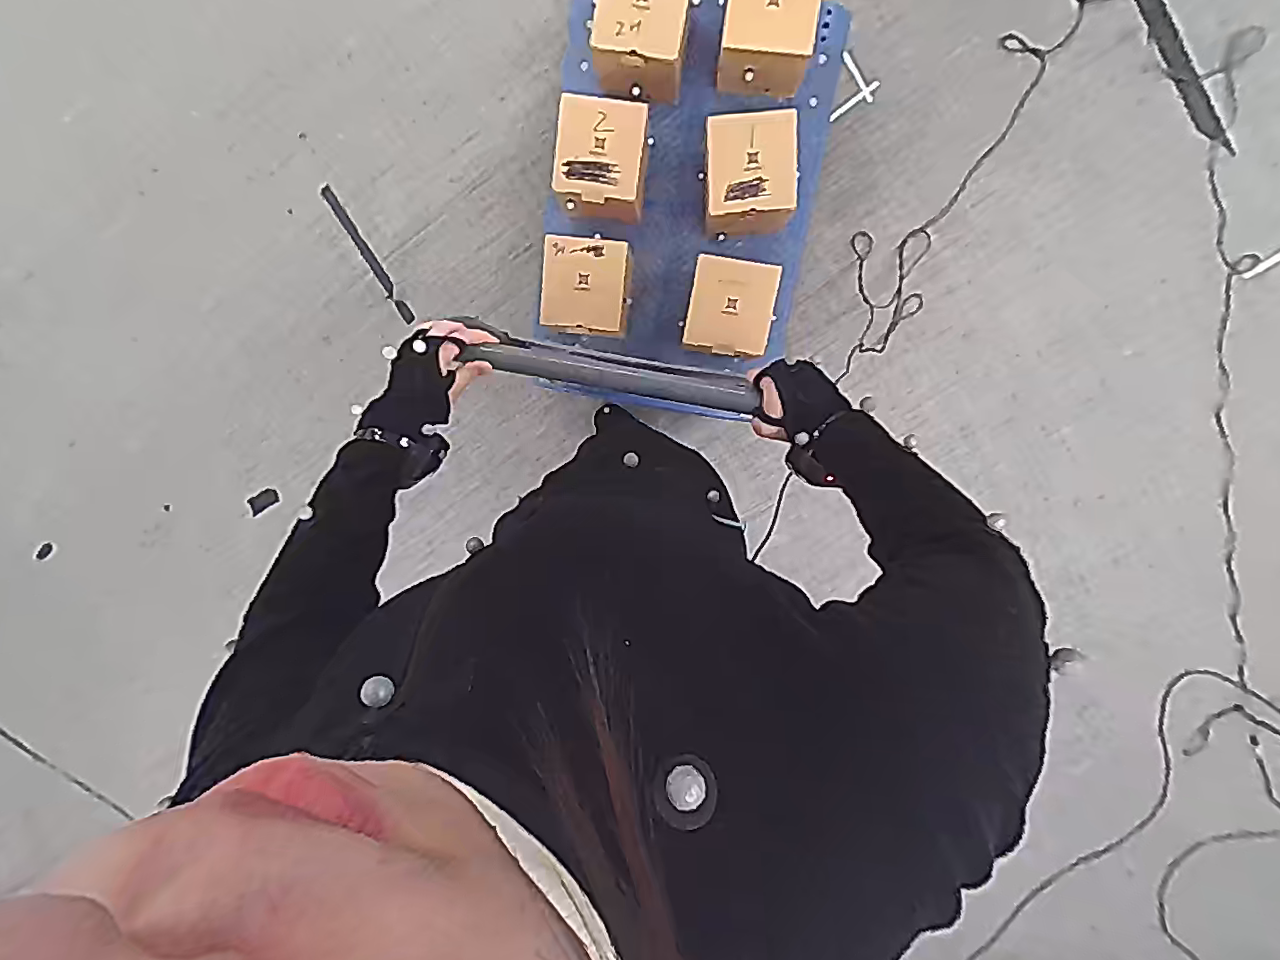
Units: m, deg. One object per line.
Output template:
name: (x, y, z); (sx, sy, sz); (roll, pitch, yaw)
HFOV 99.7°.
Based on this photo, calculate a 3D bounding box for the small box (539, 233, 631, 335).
small box: (-0.112, -0.409, 1.157); (0.168, 0.176, 0.179); (6, 101, 1)

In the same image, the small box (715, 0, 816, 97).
small box: (0.241, -0.880, 1.047); (0.168, 0.176, 0.179); (7, 101, 2)

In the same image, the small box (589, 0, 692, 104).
small box: (0.006, -0.884, 1.058); (0.168, 0.176, 0.179); (12, 102, 1)

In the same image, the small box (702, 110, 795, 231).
small box: (0.213, -0.614, 1.098); (0.168, 0.176, 0.179); (0, 101, 4)

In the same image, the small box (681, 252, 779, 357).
small box: (0.183, -0.363, 1.148); (0.168, 0.176, 0.179); (10, 100, 1)
